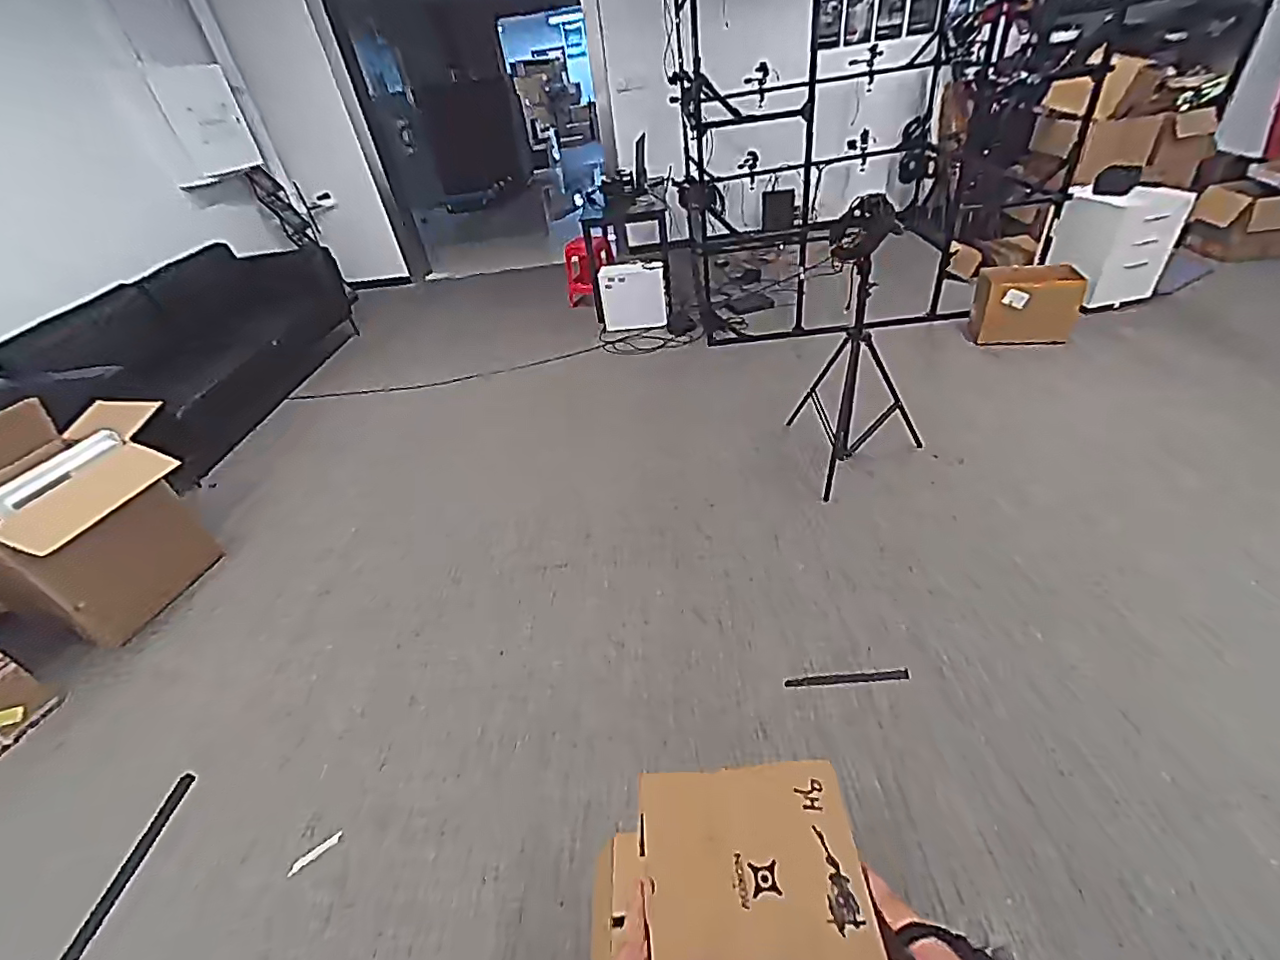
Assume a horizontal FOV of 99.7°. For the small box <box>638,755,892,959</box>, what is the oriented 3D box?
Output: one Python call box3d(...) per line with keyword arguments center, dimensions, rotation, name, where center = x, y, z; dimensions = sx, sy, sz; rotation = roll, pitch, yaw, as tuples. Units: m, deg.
box3d(center=(0.094, 0.366, 0.479), dimensions=(0.179, 0.176, 0.168), rotation=(-5, 45, -1), name="small box")
